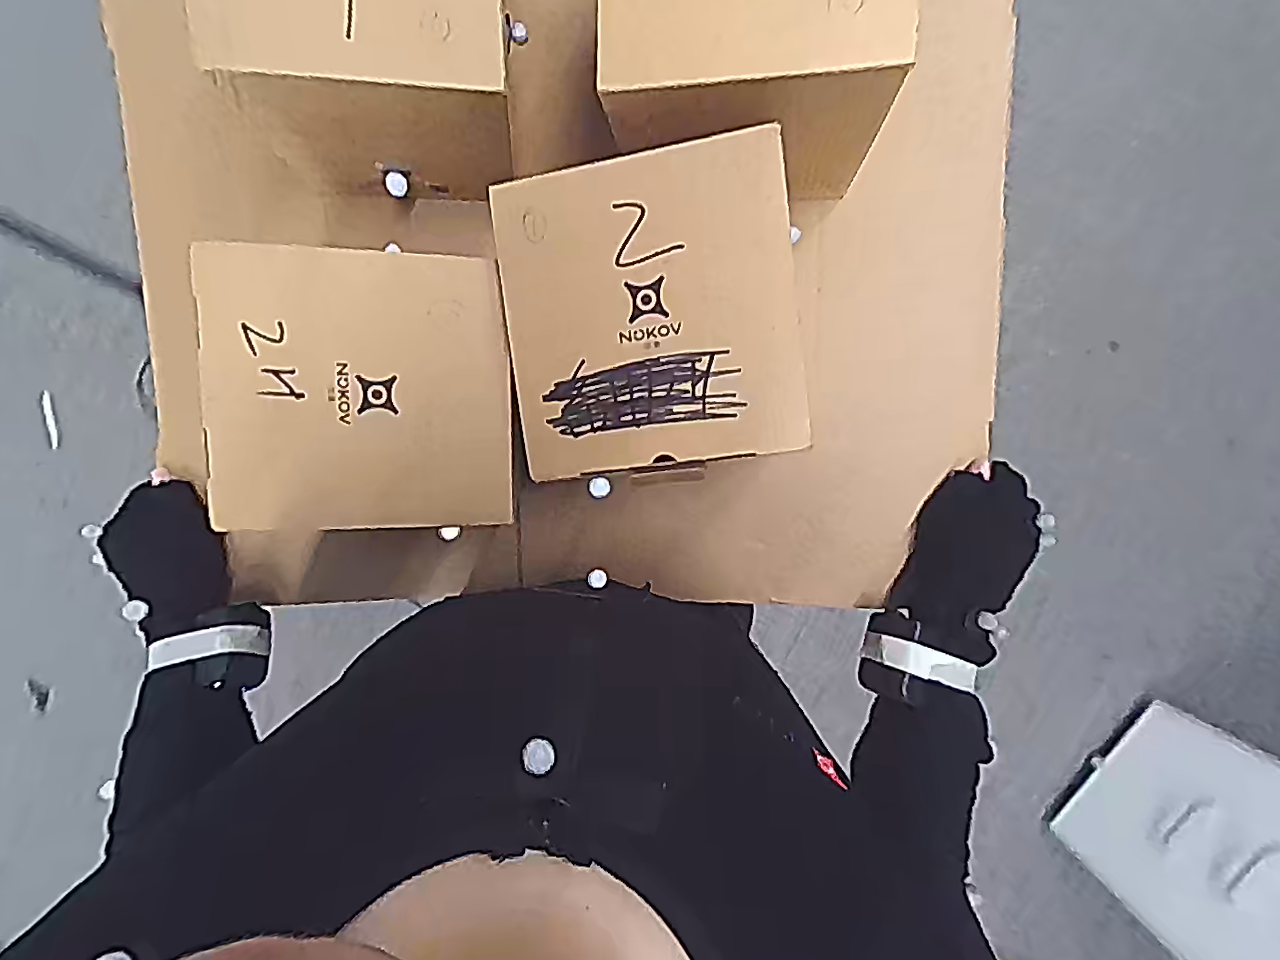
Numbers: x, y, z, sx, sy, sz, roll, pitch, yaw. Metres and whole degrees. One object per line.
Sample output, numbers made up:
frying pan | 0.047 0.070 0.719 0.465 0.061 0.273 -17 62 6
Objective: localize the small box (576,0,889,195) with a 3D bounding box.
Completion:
small box | 0.059 -0.309 0.357 0.168 0.176 0.179 0 95 9
